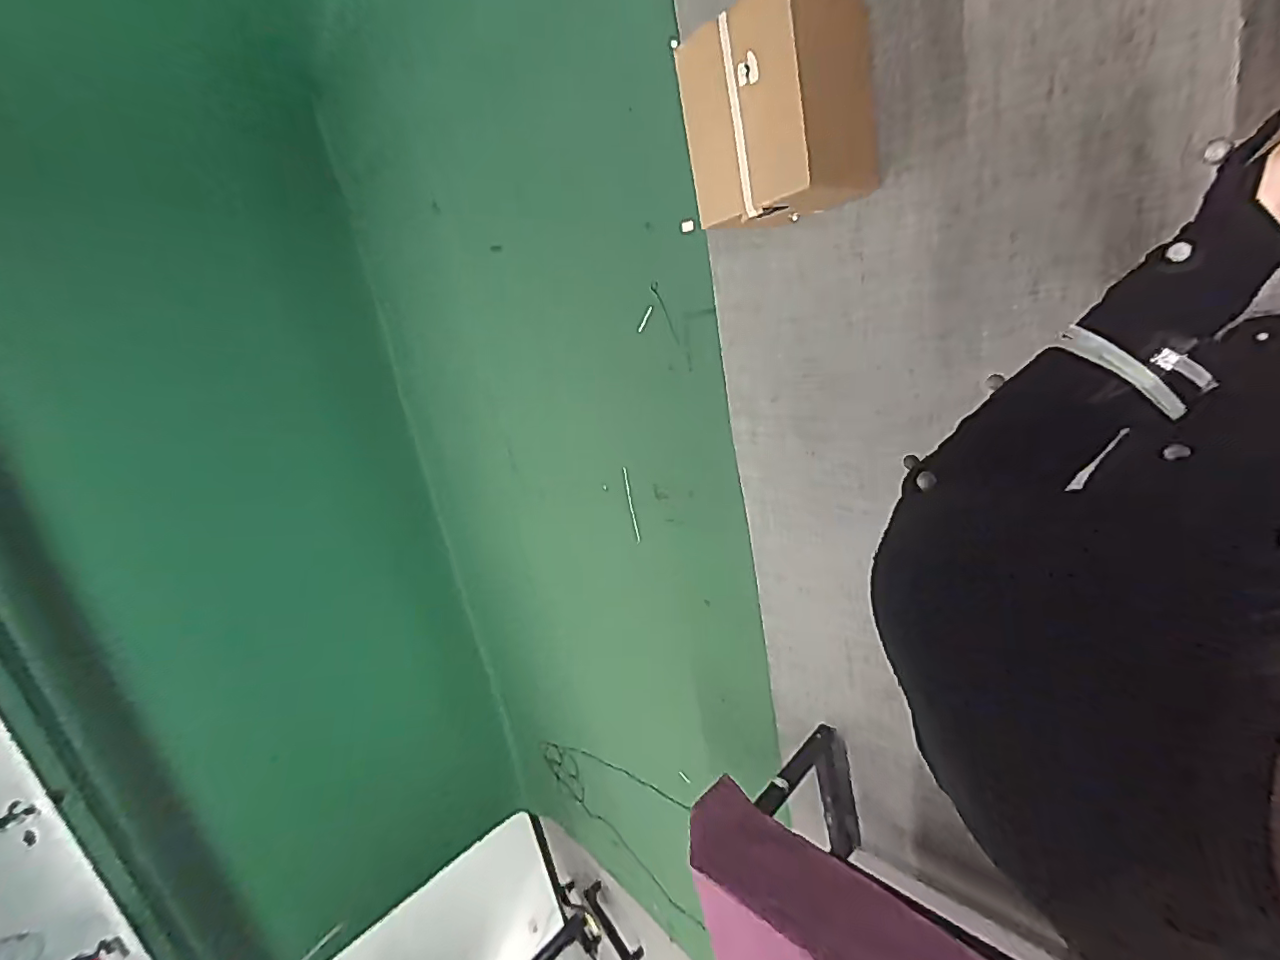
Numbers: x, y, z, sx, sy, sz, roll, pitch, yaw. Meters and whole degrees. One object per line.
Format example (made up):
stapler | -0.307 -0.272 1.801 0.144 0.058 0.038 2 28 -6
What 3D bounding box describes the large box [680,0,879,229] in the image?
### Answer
large box | 0.339 -0.857 1.295 0.320 0.320 0.408 6 112 49
